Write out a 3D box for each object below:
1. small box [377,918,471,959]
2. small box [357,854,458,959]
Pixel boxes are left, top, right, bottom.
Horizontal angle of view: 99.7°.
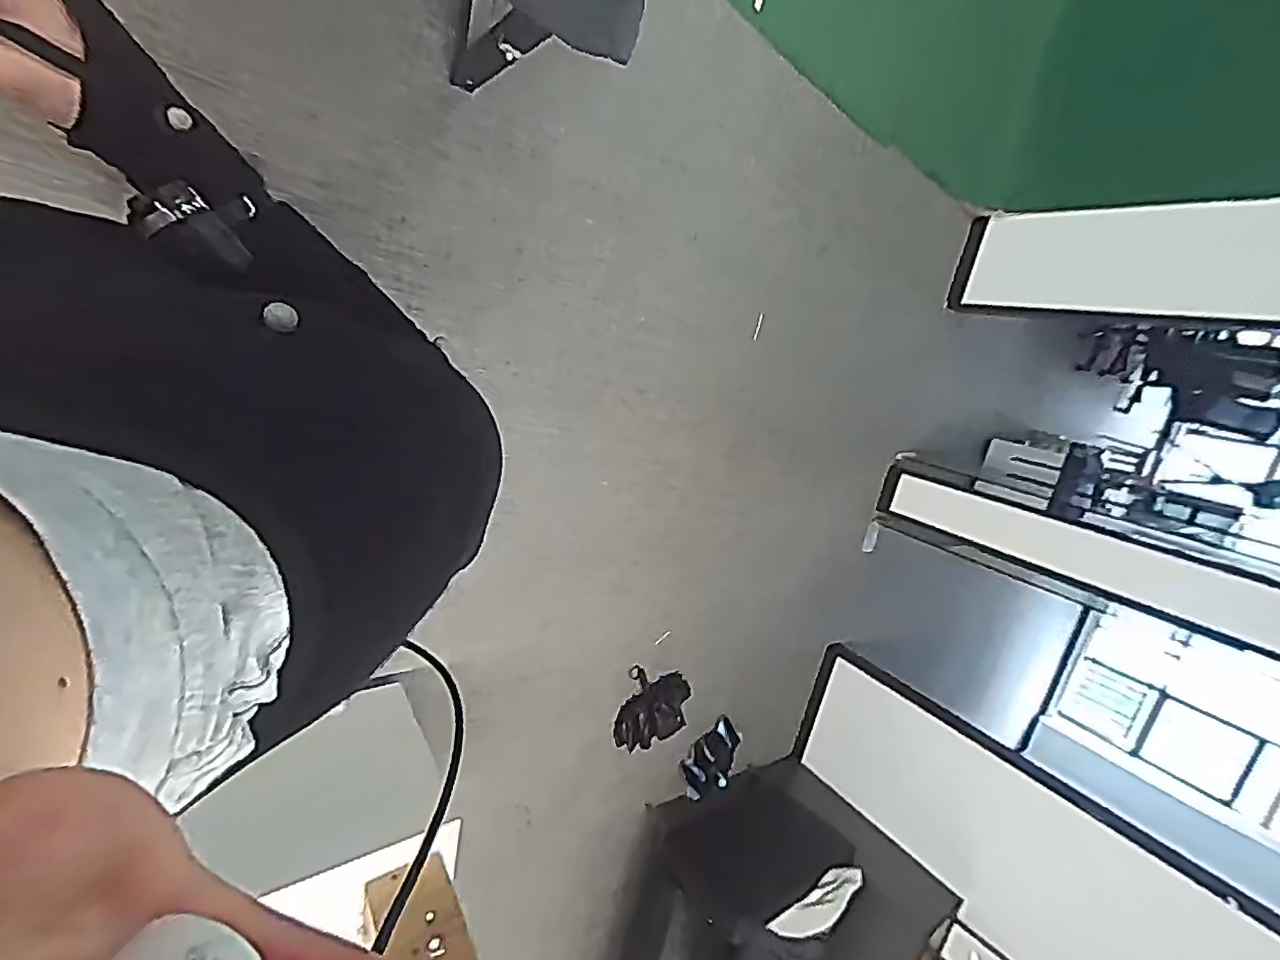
[{"bbox_3d":[-0.415,1.024,1.054,0.168,0.176,0.179,-6,111,-37],"label":"small box"},{"bbox_3d":[-0.510,0.974,1.176,0.168,0.176,0.179,-3,111,-37],"label":"small box"}]
